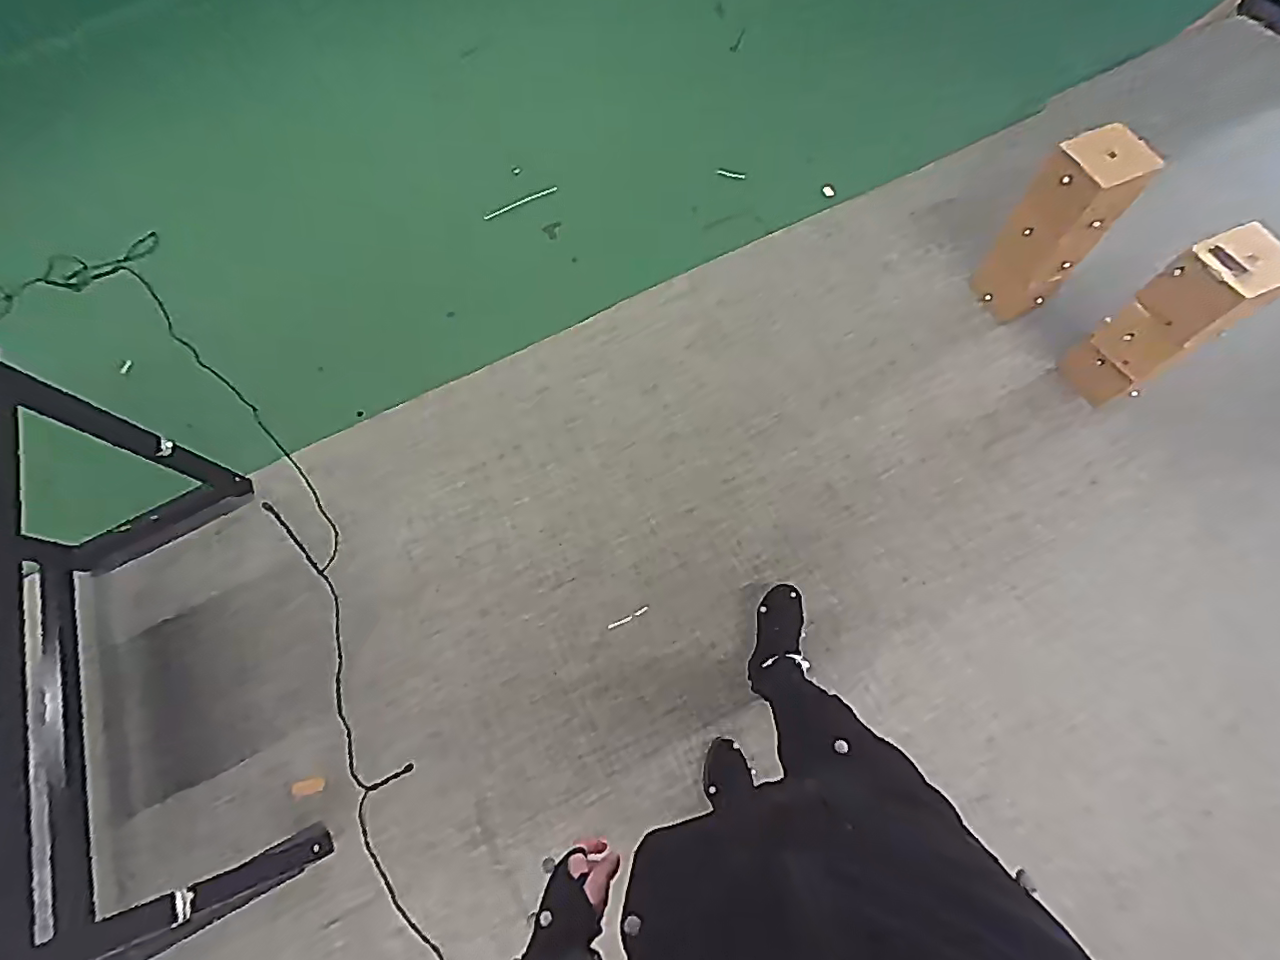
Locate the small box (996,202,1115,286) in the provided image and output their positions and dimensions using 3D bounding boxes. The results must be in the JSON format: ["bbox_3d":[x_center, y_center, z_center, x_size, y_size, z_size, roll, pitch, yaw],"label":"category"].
[{"bbox_3d":[1.169,-0.692,1.541,0.168,0.176,0.179,-22,68,-2],"label":"small box"}]

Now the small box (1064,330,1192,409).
[{"bbox_3d":[1.379,-0.334,1.546,0.168,0.176,0.179,-25,68,-3],"label":"small box"}]

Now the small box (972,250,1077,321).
[{"bbox_3d":[1.190,-0.624,1.689,0.168,0.176,0.179,-23,67,-3],"label":"small box"}]

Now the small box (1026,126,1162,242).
[{"bbox_3d":[1.152,-0.756,1.391,0.168,0.176,0.179,-21,67,-1],"label":"small box"}]

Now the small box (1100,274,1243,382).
[{"bbox_3d":[1.349,-0.383,1.394,0.179,0.176,0.168,-28,67,-5],"label":"small box"}]
